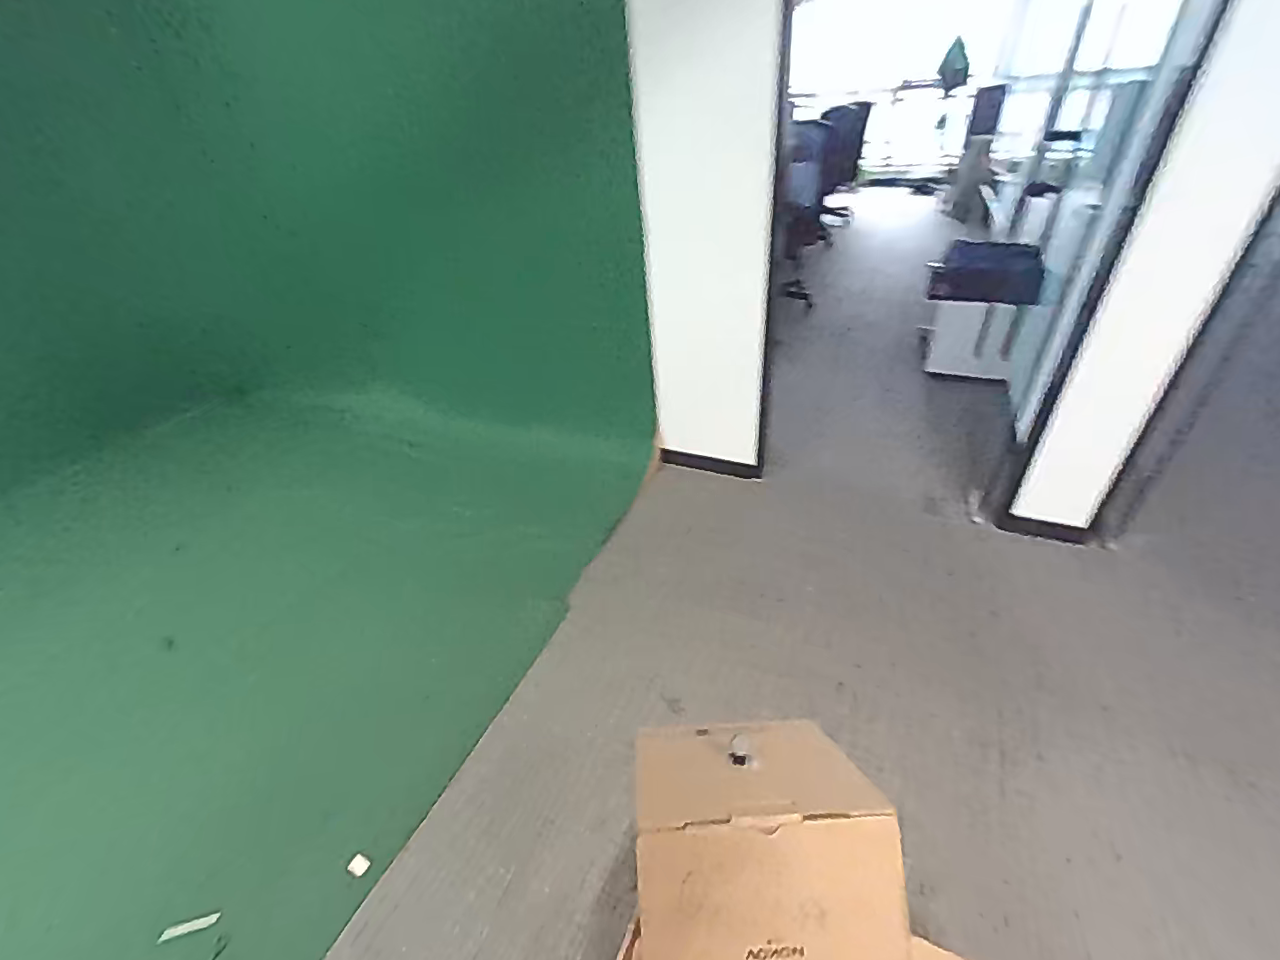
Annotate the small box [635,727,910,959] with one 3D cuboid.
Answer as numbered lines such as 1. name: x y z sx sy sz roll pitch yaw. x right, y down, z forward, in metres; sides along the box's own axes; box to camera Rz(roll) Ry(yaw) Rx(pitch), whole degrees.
1. small box: 0.081 0.300 0.408 0.168 0.179 0.176 -3 -5 0
